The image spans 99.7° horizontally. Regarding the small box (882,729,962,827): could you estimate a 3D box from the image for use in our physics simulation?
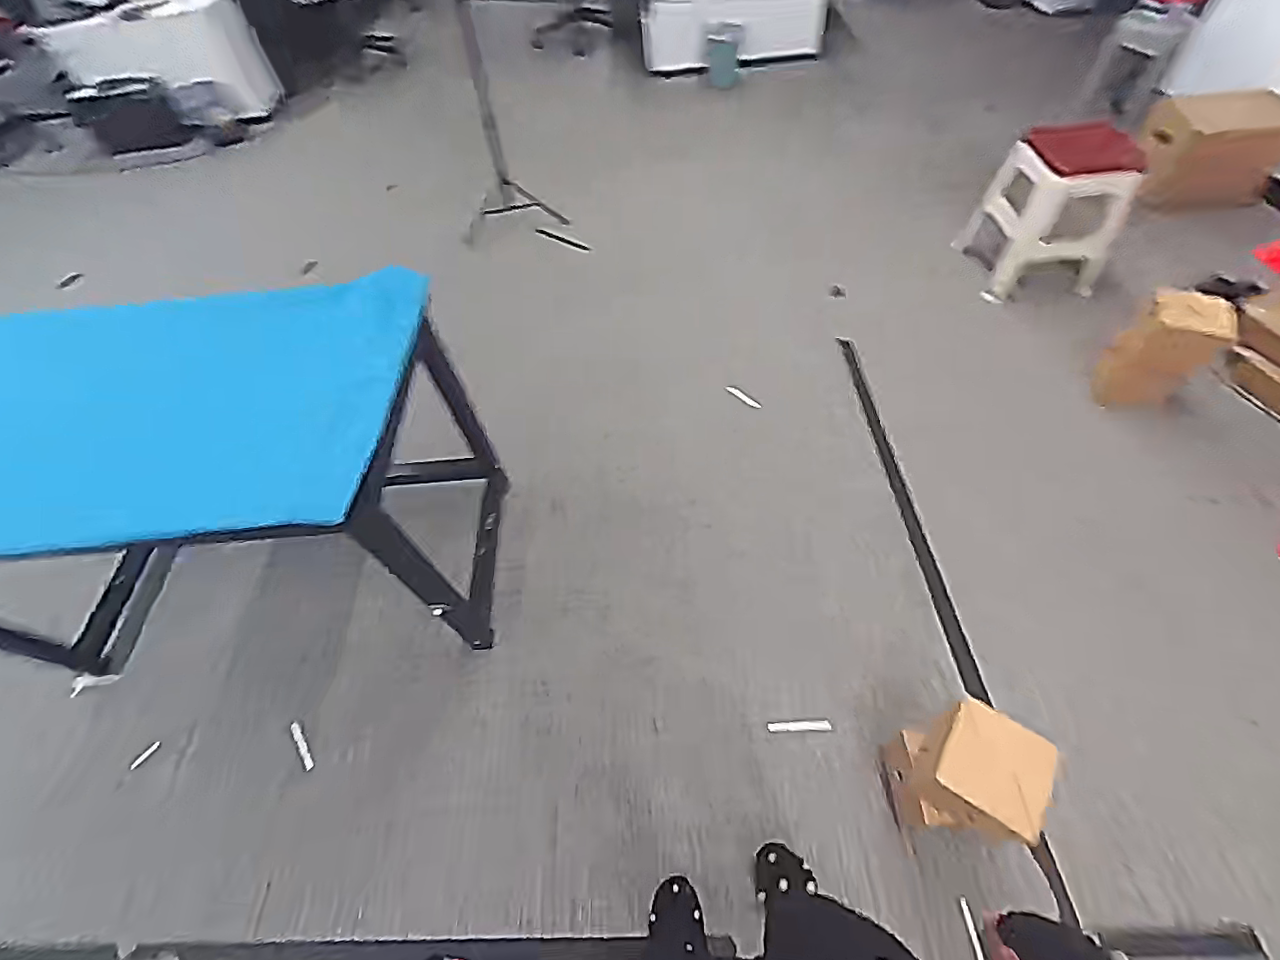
[{"bbox_3d":[0.649,0.650,1.176,0.168,0.176,0.179,-2,55,4],"label":"small box"}]

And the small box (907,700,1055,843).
[{"bbox_3d":[0.648,0.556,1.037,0.168,0.176,0.179,29,62,22],"label":"small box"}]
